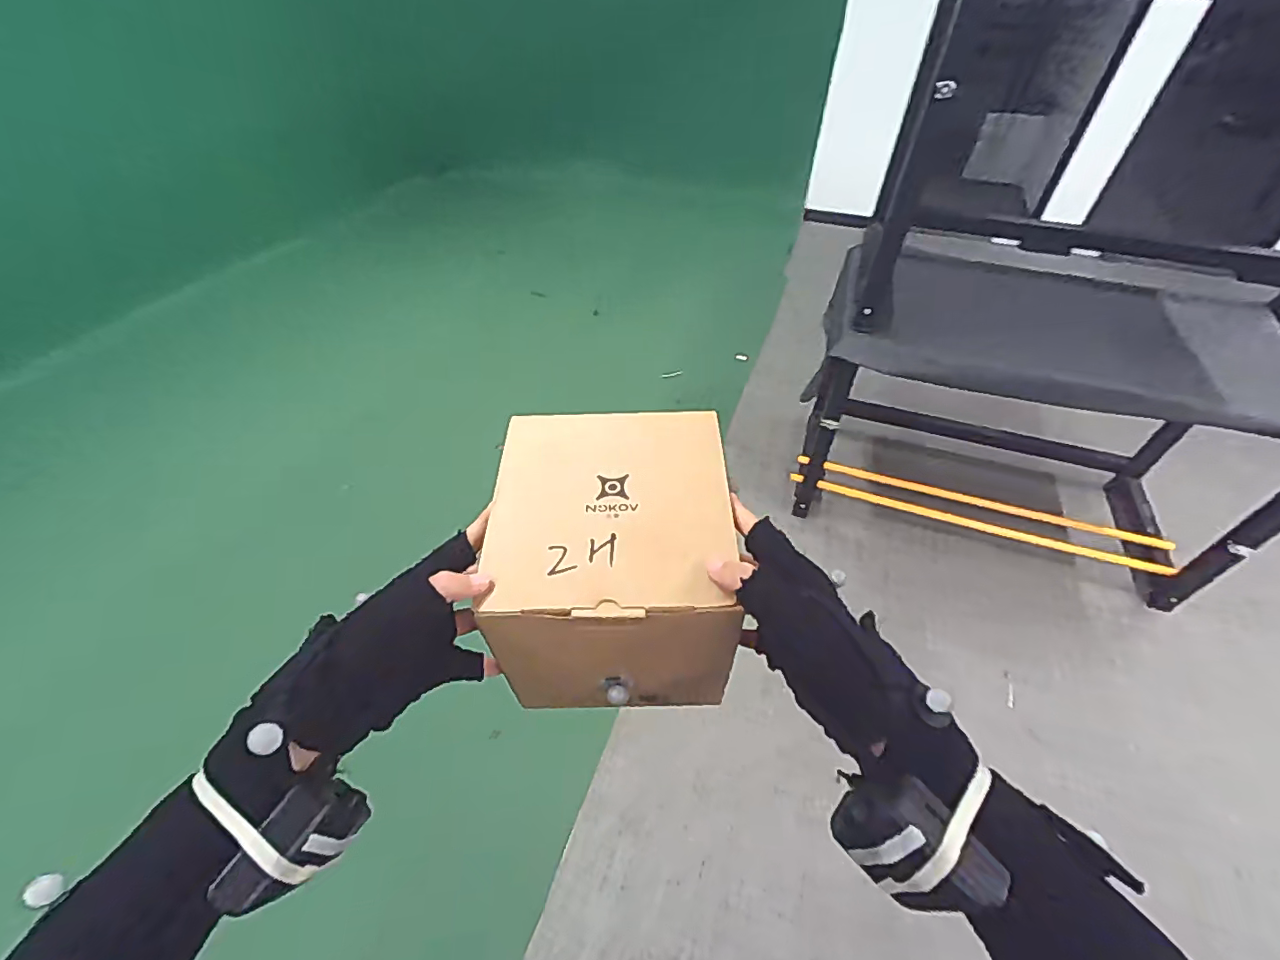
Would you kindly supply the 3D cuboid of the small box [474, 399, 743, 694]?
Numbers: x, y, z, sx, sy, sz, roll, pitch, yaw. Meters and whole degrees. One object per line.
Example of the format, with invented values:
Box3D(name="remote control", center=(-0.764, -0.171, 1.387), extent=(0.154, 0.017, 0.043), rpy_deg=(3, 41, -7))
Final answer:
Box3D(name="small box", center=(-0.017, 0.054, 0.437), extent=(0.168, 0.176, 0.179), rpy_deg=(-2, 48, 2))
